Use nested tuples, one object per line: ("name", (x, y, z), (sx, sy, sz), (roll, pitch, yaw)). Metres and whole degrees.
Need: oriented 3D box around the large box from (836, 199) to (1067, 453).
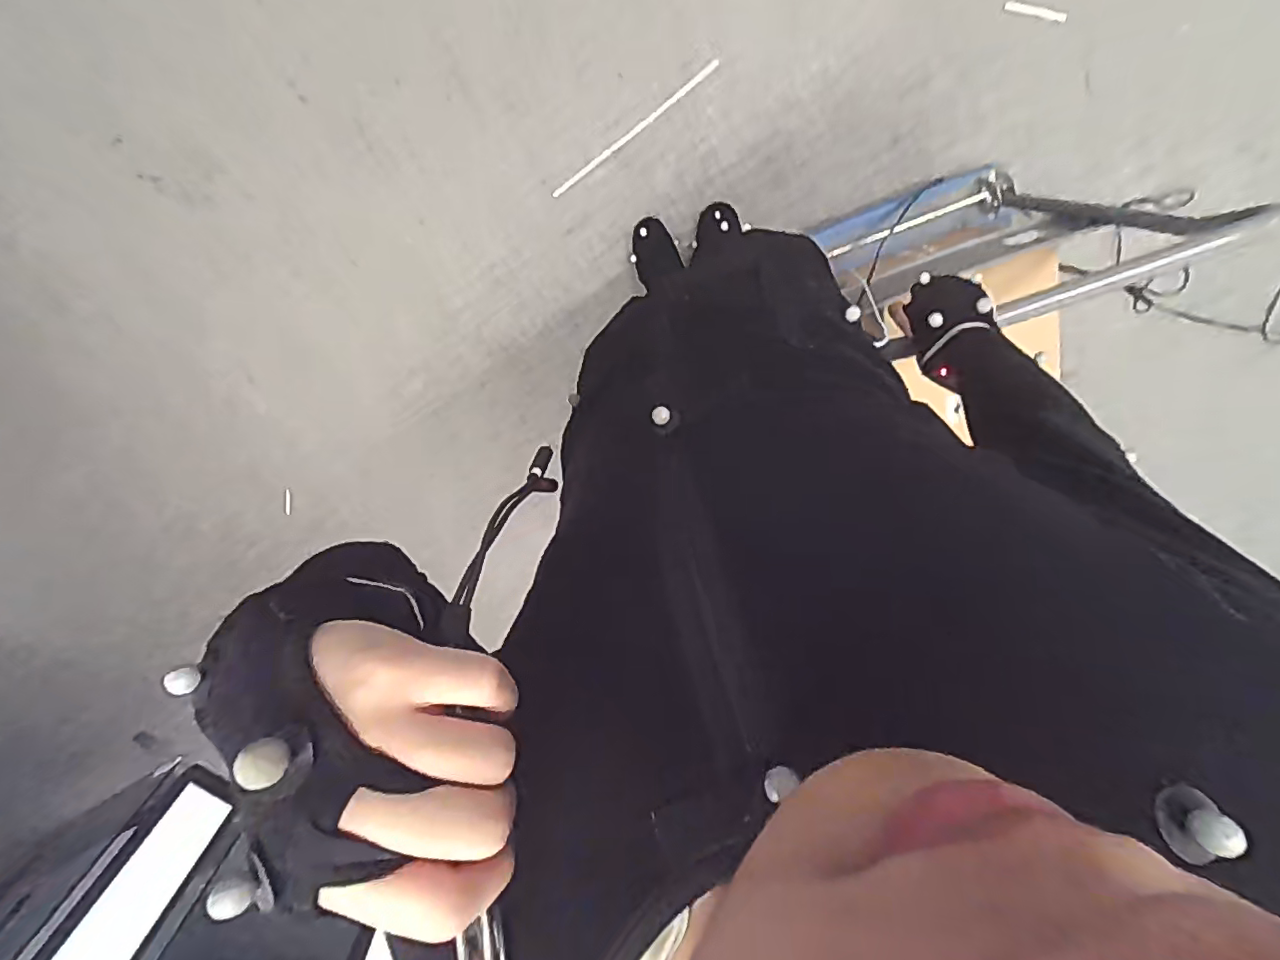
("large box", (0.665, -0.340, 1.182), (0.320, 0.320, 0.408), (-19, 118, 12))
